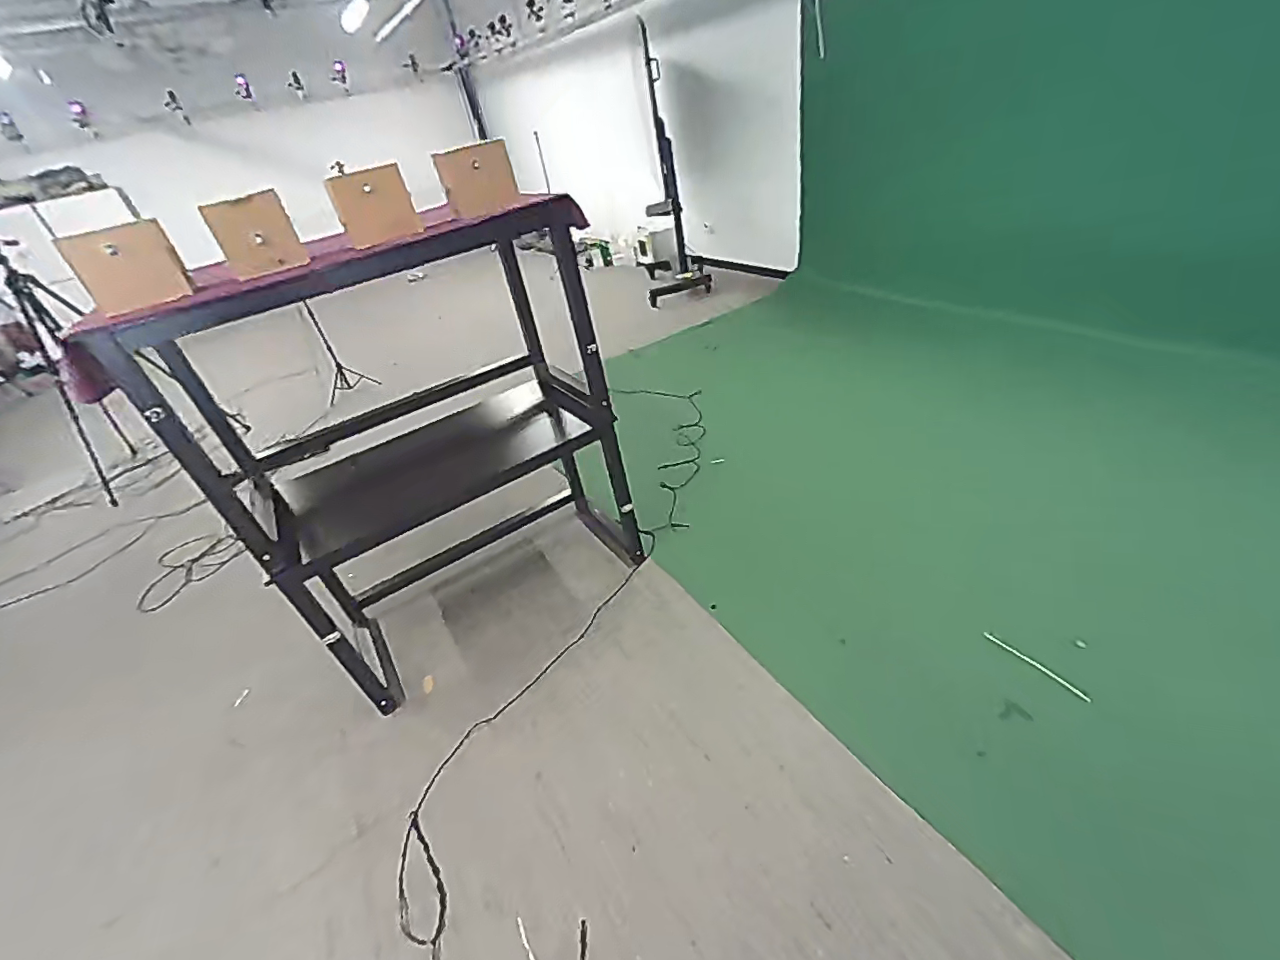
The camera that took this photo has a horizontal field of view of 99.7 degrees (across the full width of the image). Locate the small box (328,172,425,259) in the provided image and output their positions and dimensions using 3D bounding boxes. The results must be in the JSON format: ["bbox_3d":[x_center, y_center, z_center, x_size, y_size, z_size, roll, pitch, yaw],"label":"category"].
[{"bbox_3d":[-0.694,-0.705,1.438,0.179,0.176,0.168,-28,36,-20],"label":"small box"}]

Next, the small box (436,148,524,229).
[{"bbox_3d":[-0.452,-0.826,1.536,0.179,0.176,0.168,-25,37,-18],"label":"small box"}]

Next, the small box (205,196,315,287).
[{"bbox_3d":[-0.928,-0.587,1.334,0.168,0.176,0.179,-27,36,-22],"label":"small box"}]

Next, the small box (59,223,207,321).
[{"bbox_3d":[-1.144,-0.476,1.236,0.179,0.176,0.168,-27,37,-23],"label":"small box"}]
